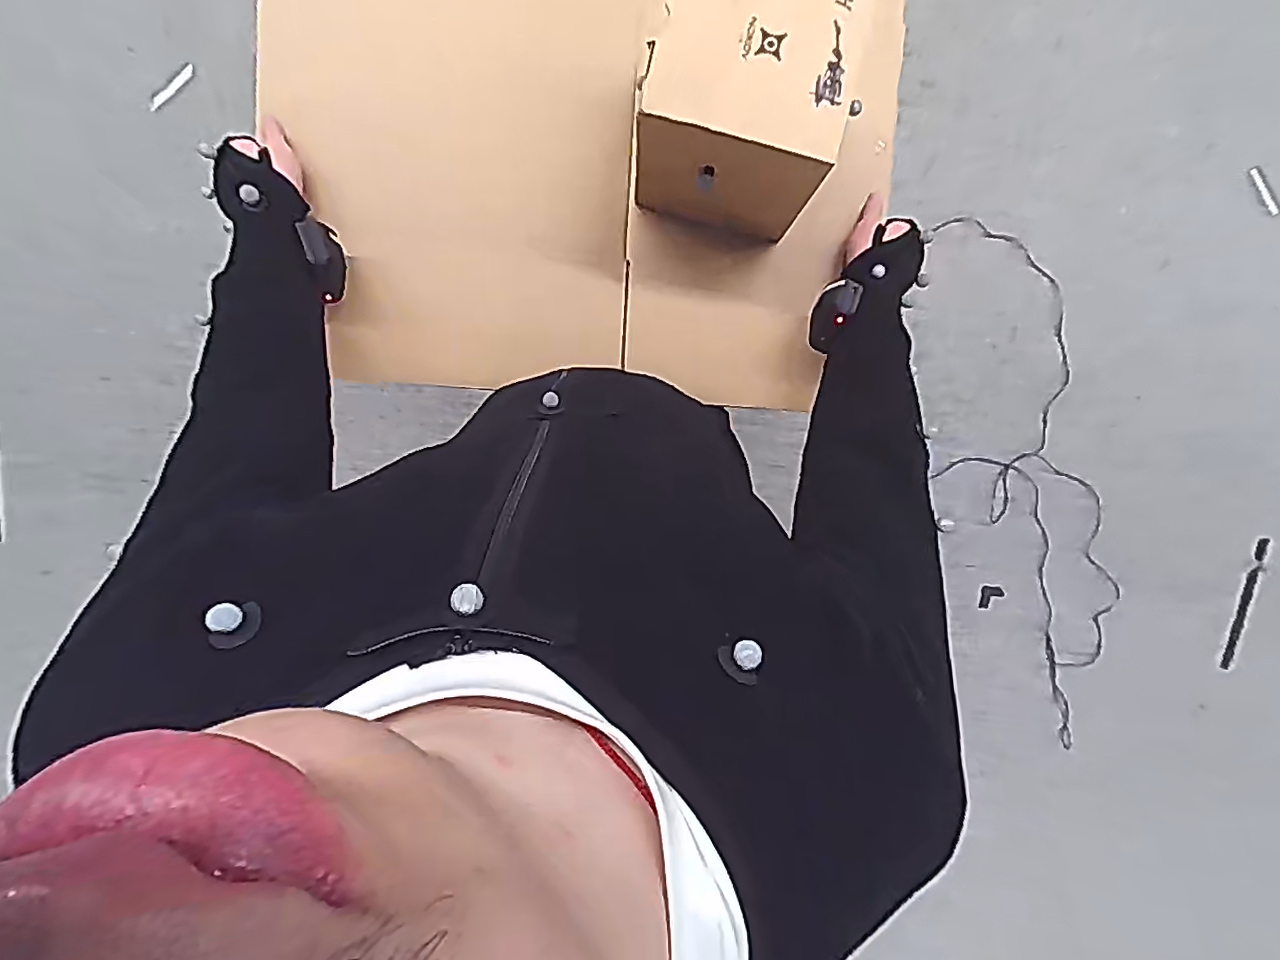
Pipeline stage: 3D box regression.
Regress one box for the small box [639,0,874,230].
[{"bbox_3d":[0.101,-0.376,0.539,0.179,0.176,0.168,14,93,-1],"label":"small box"}]
